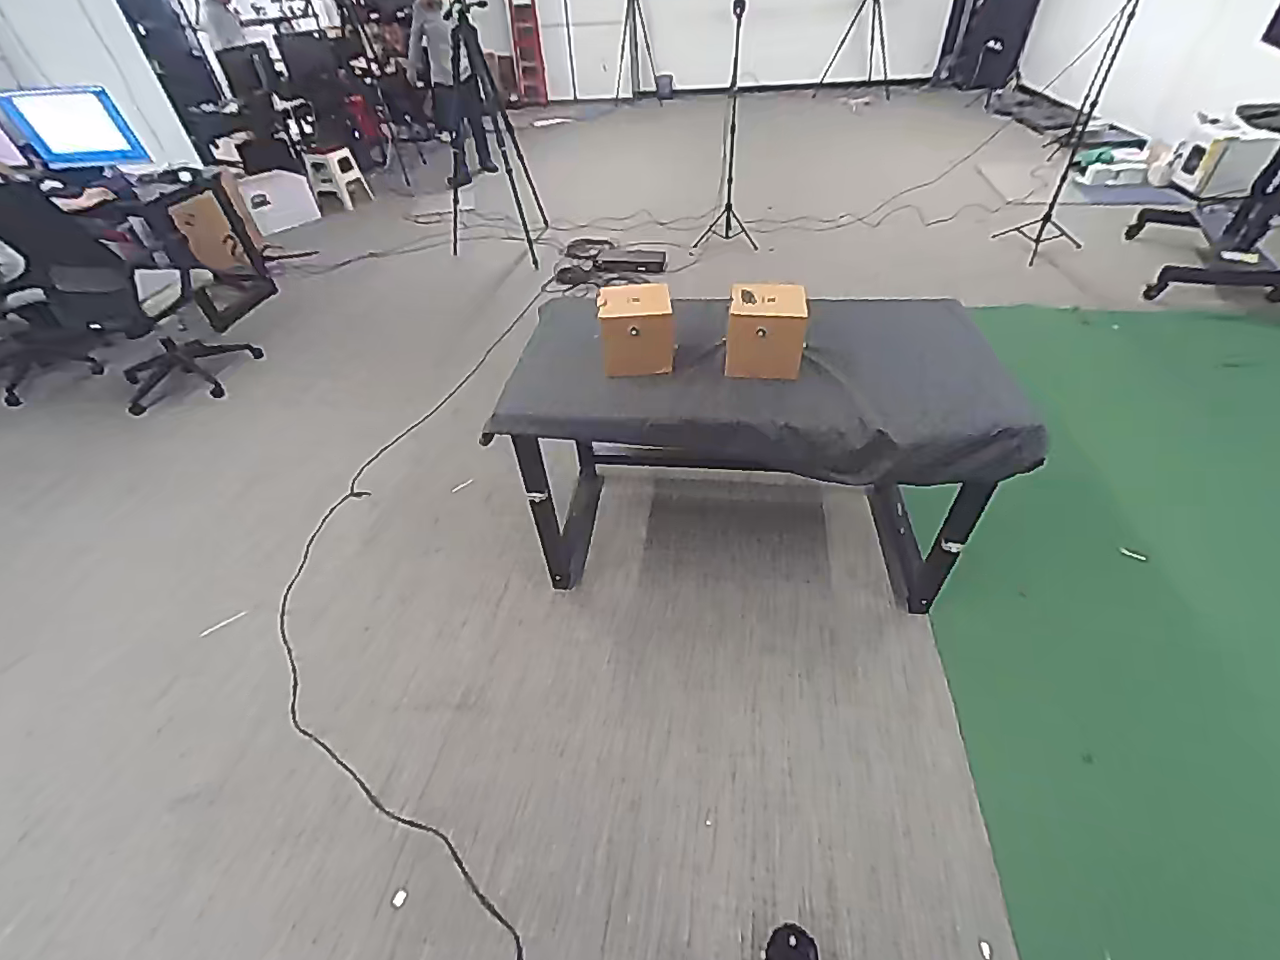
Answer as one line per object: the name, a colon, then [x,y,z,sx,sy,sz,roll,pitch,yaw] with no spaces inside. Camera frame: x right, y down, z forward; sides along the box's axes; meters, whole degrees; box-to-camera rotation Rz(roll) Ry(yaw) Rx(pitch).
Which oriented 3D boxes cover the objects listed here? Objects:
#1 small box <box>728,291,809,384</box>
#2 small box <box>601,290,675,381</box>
small box: [0.309,-0.349,1.330,0.179,0.176,0.168,4,44,8]
small box: [-0.004,-0.363,1.374,0.179,0.176,0.168,-3,44,0]
